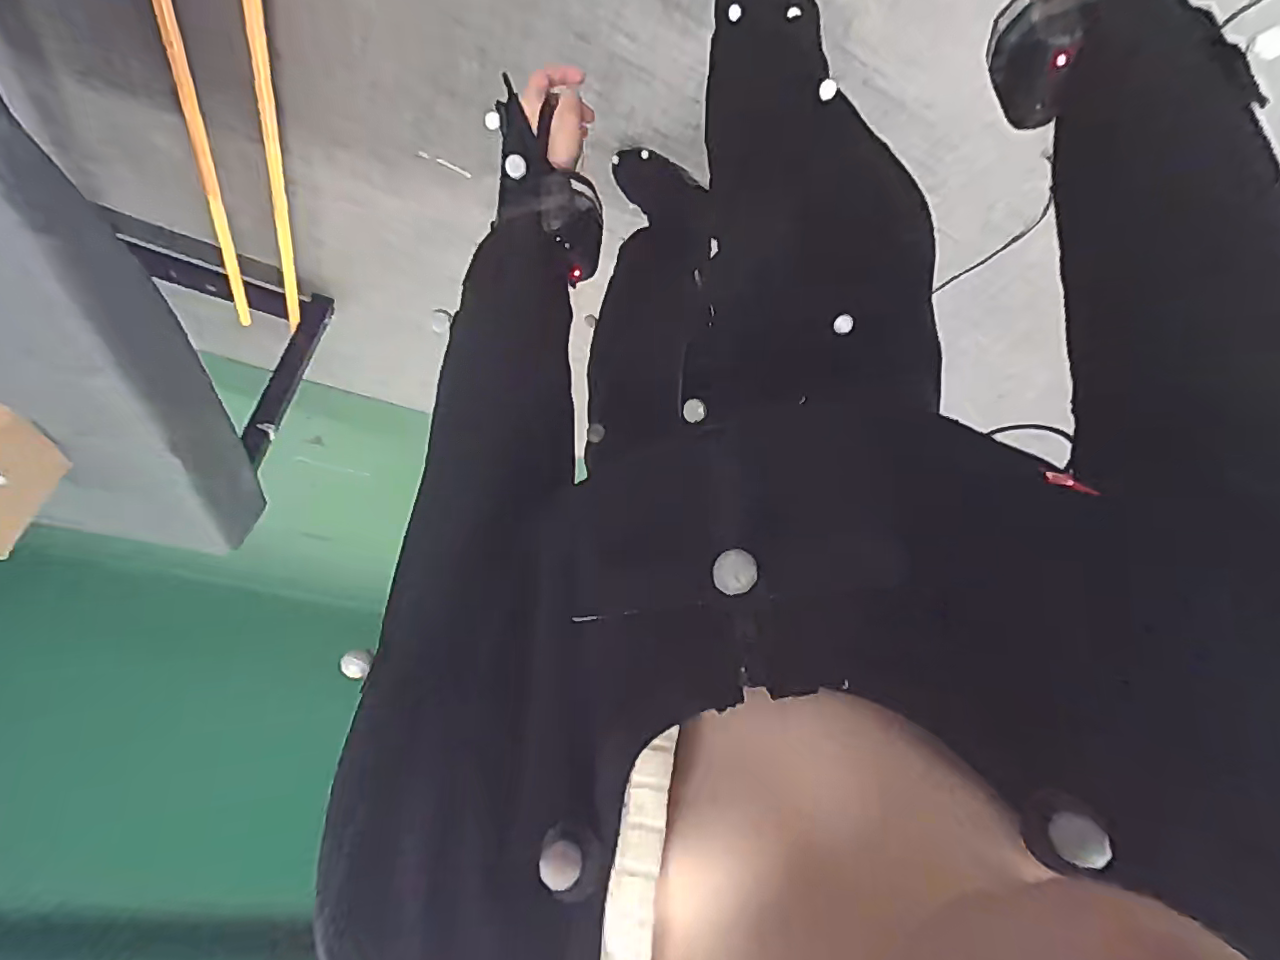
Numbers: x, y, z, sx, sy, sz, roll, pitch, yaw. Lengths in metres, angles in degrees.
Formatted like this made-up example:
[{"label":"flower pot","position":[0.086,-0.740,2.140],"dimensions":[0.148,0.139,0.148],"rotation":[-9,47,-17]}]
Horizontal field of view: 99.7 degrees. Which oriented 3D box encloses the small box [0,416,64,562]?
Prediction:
[{"label":"small box","position":[-0.936,-0.009,0.709],"dimensions":[0.168,0.176,0.179],"rotation":[17,149,-19]}]
